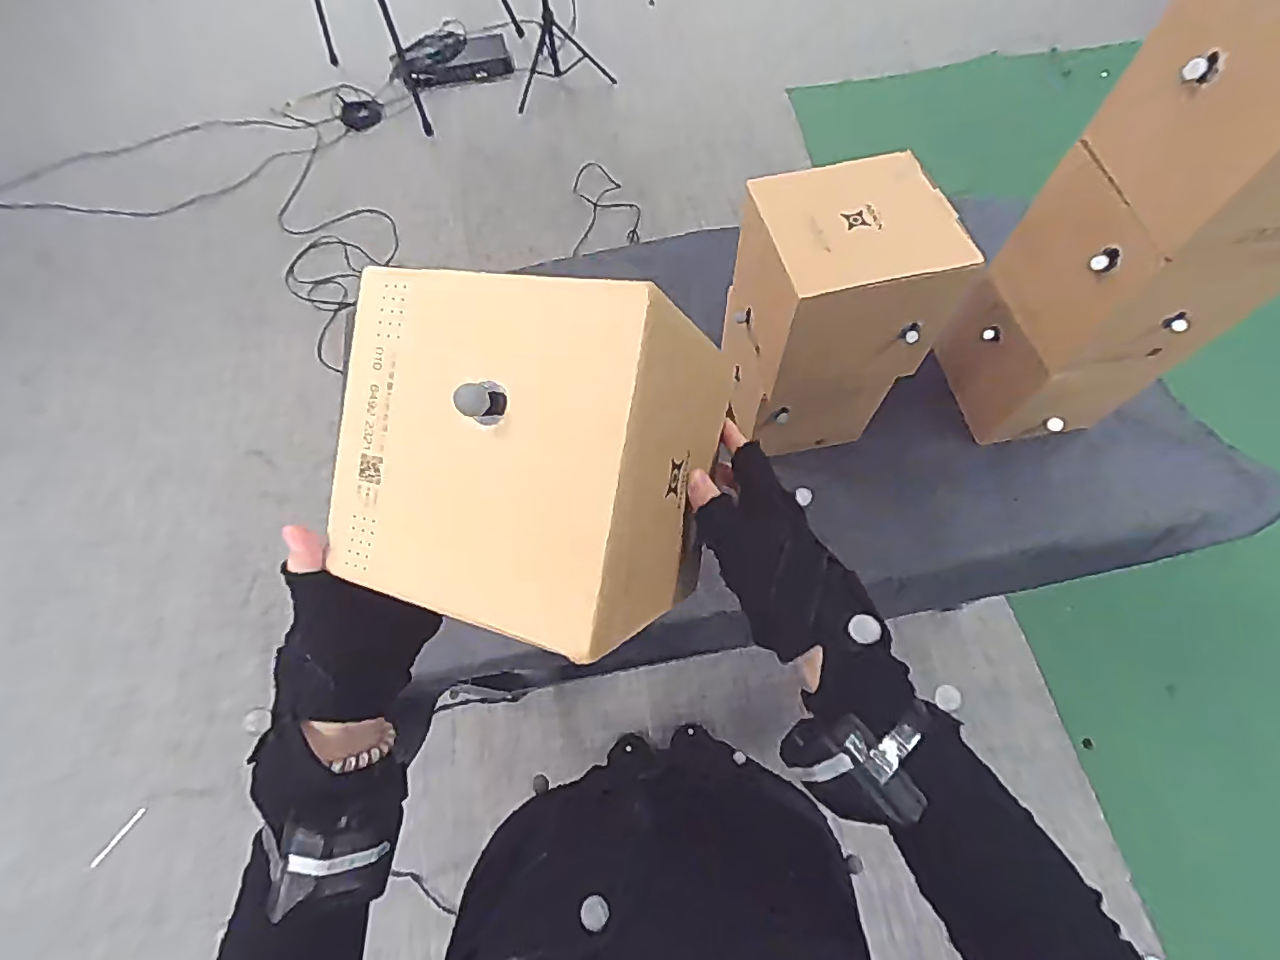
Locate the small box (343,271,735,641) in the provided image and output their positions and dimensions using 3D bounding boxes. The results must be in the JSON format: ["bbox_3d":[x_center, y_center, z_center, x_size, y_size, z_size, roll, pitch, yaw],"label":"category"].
[{"bbox_3d":[-0.050,-0.018,0.339,0.176,0.179,0.168,10,93,20],"label":"small box"}]

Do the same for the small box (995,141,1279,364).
[{"bbox_3d":[0.534,-0.241,0.583,0.168,0.176,0.179,-7,65,0],"label":"small box"}]

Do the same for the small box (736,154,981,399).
[{"bbox_3d":[0.215,-0.211,0.590,0.179,0.176,0.168,-12,64,-1],"label":"small box"}]
